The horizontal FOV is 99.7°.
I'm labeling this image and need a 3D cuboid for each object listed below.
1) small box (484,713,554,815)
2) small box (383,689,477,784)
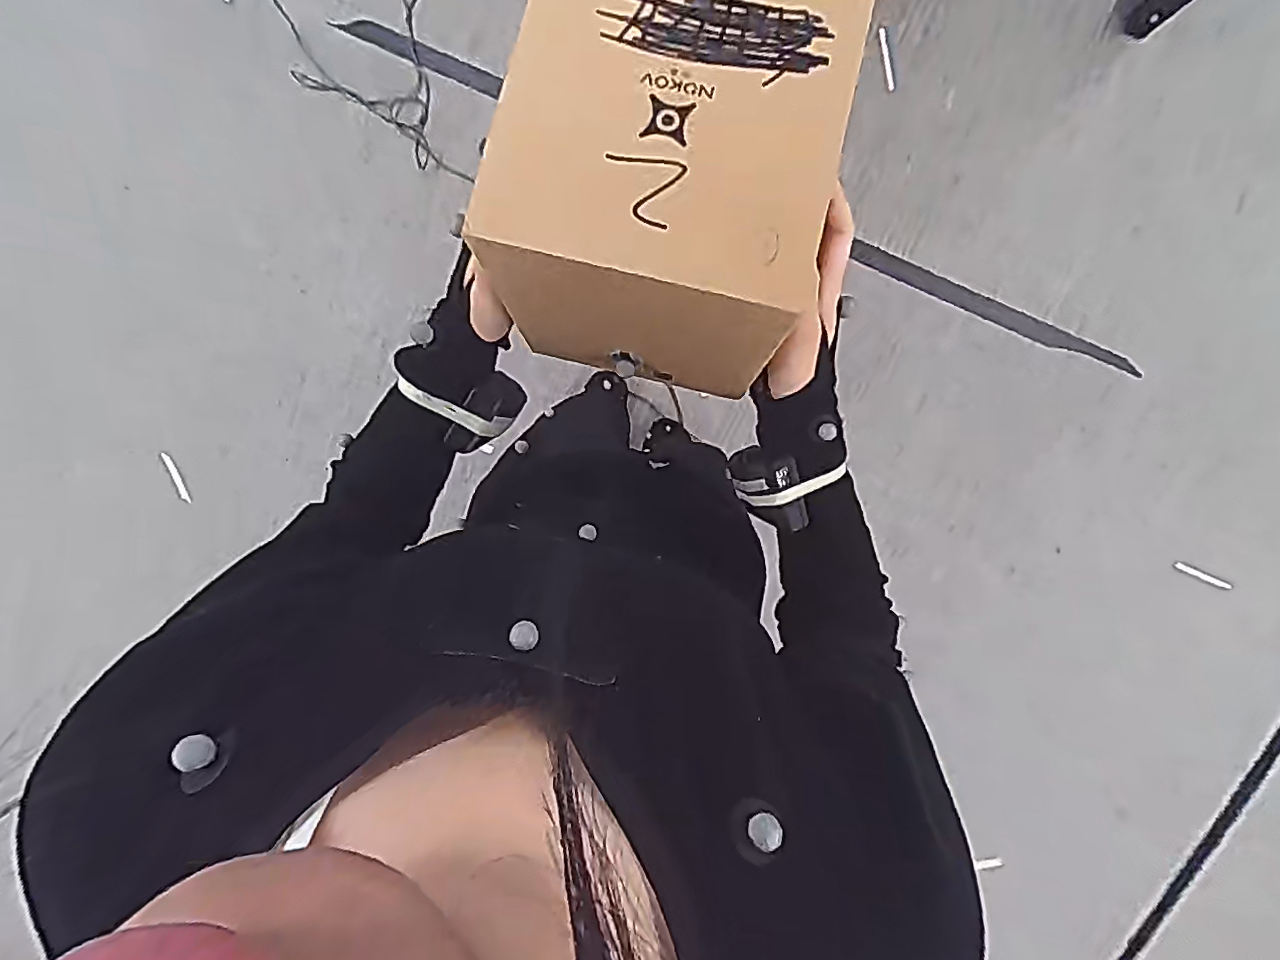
[{"bbox_3d":[-0.355,0.790,1.521,0.179,0.176,0.168,17,99,0],"label":"small box"},{"bbox_3d":[-0.587,0.710,1.526,0.179,0.176,0.168,17,100,0],"label":"small box"}]
